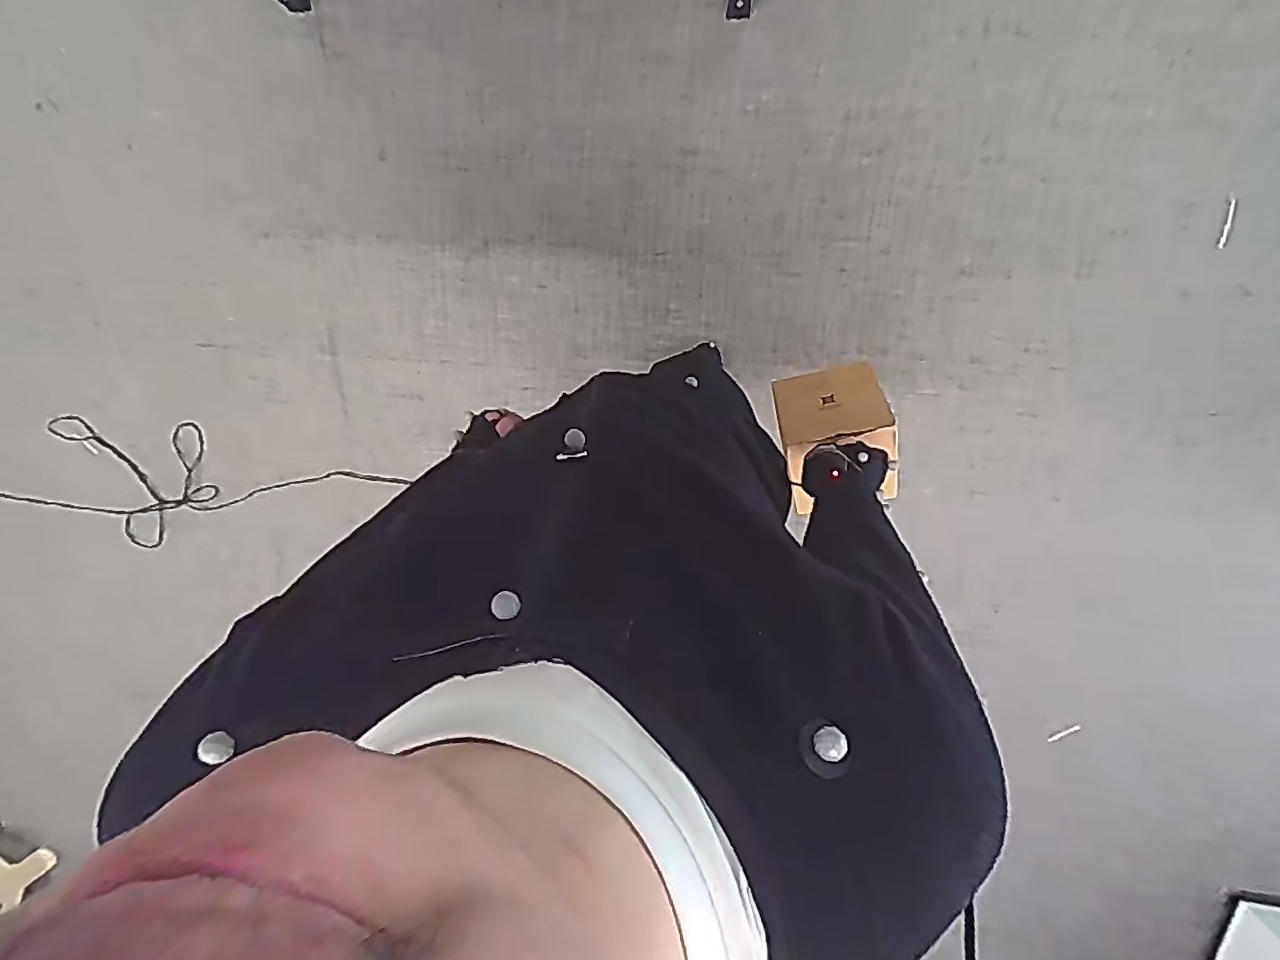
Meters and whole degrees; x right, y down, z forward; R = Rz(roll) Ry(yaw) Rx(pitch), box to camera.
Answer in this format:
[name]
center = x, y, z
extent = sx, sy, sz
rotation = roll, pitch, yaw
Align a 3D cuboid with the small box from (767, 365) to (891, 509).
[small box]
center = 0.321, -0.065, 0.925
extent = 0.168, 0.179, 0.176
rotation = -10, 132, 12
